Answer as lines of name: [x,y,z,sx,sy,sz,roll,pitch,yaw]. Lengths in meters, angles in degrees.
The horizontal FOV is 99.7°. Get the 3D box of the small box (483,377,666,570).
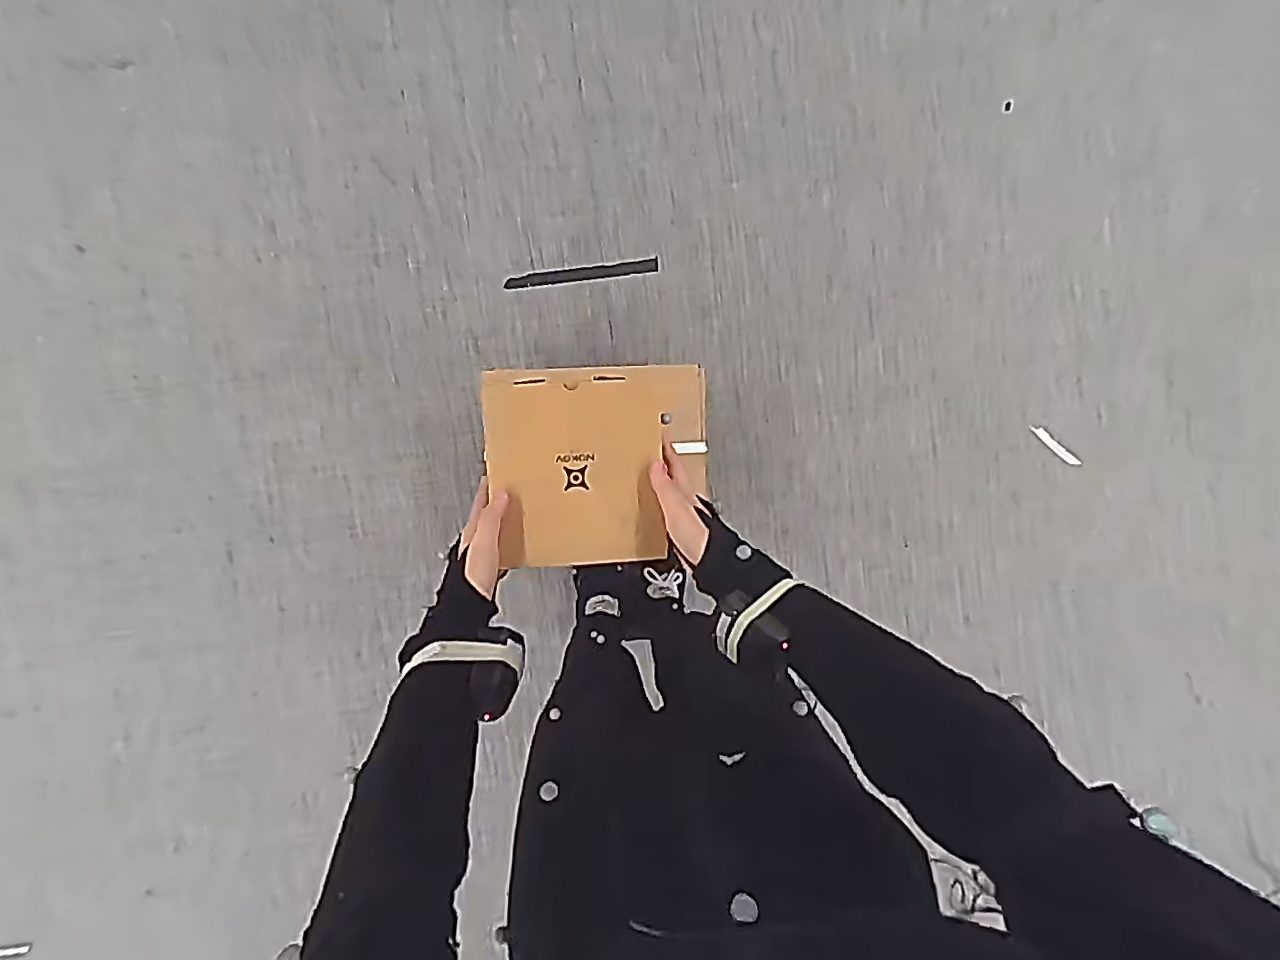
small box: [-0.064,-0.011,0.582,0.168,0.176,0.179,-3,93,-4]
